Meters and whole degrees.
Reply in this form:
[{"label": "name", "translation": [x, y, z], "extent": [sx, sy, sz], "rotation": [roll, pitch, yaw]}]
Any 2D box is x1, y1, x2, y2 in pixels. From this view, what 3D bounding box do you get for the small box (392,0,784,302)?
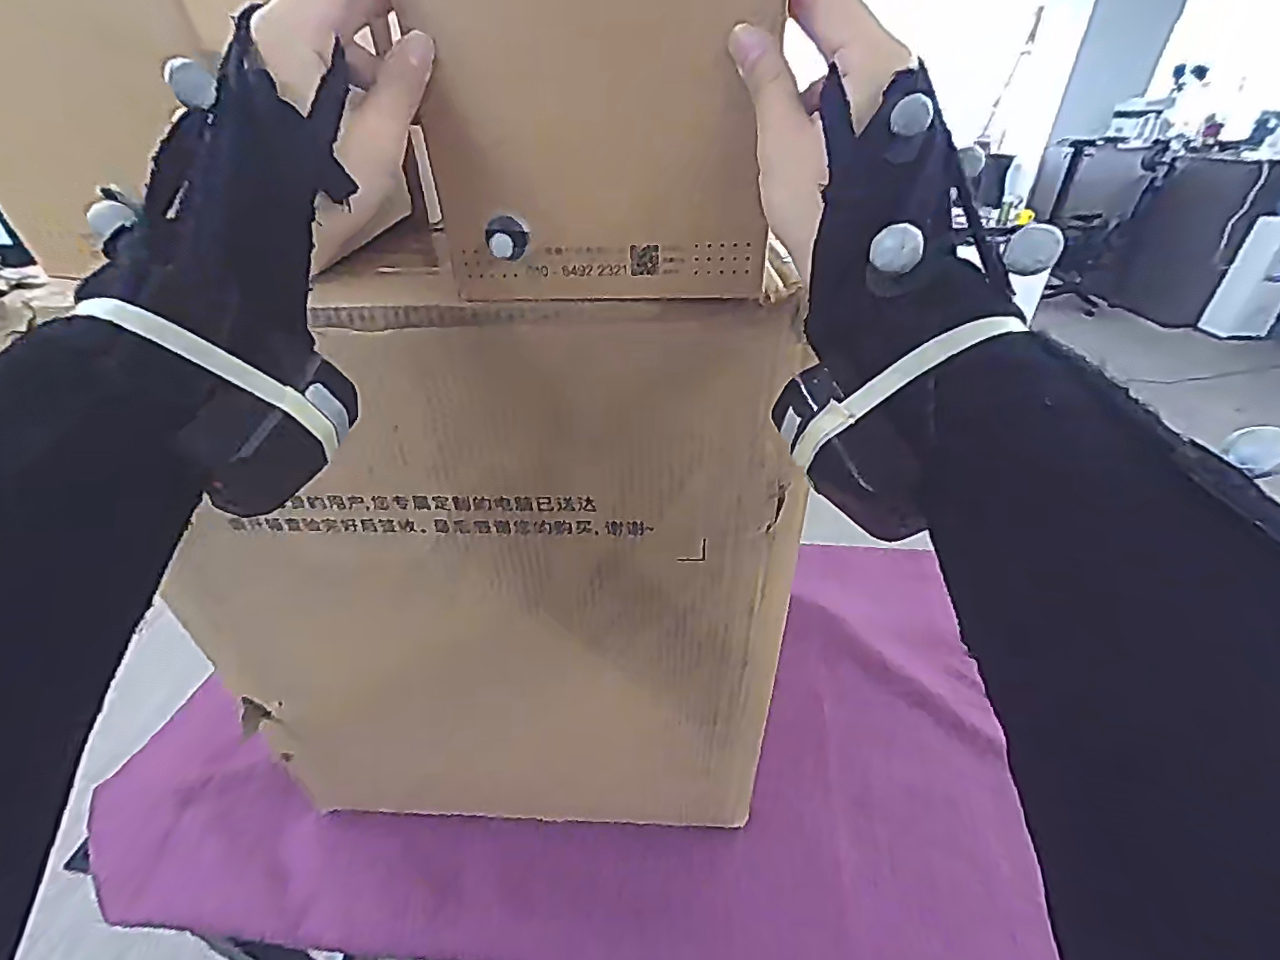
[{"label": "small box", "translation": [-0.013, -0.208, 0.310], "extent": [0.168, 0.176, 0.179], "rotation": [1, 36, 4]}]
